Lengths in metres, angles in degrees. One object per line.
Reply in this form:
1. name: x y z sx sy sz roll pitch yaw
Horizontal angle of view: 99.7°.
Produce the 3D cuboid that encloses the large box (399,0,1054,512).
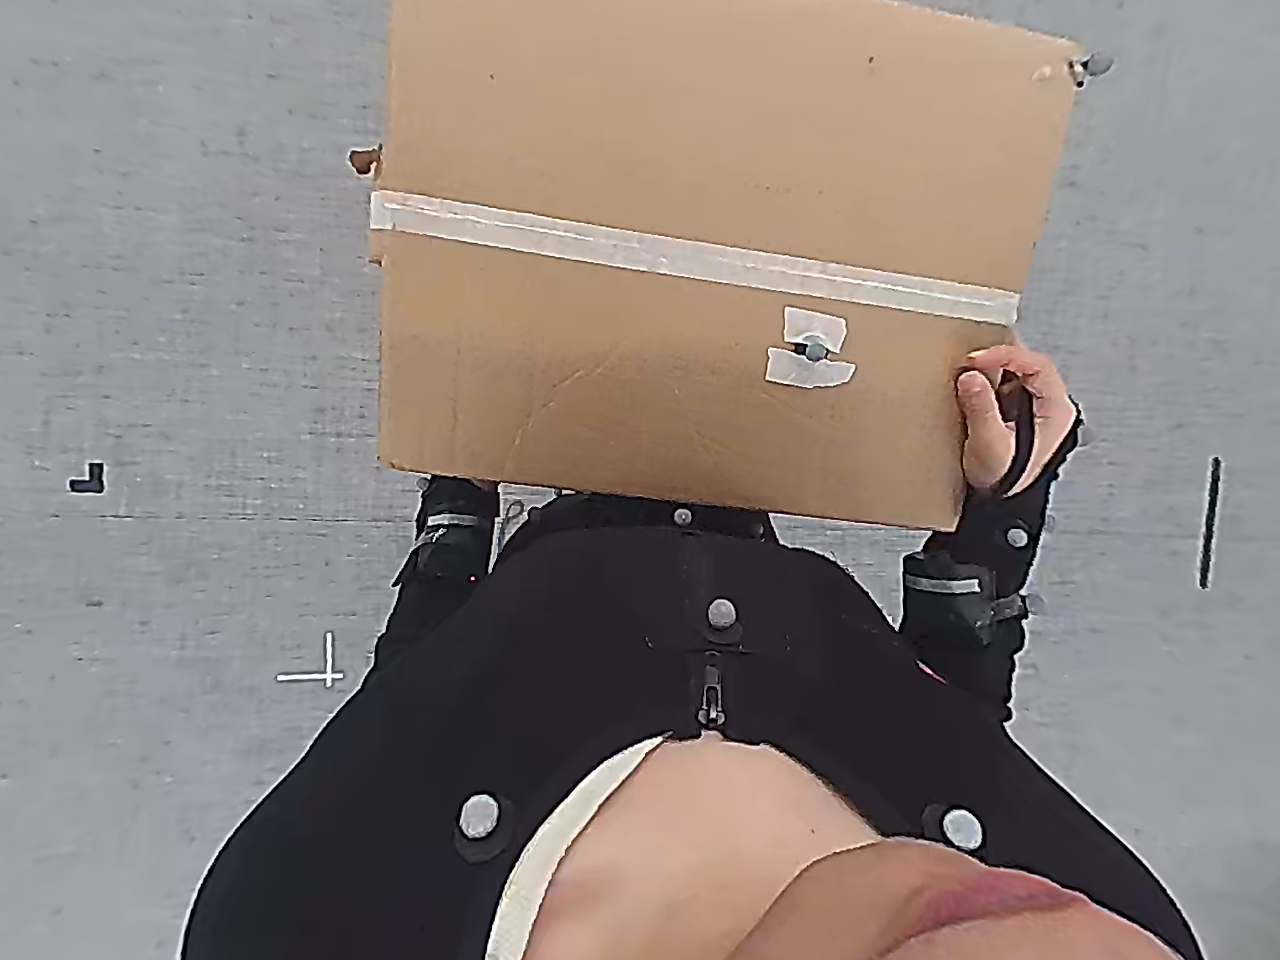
1. large box: 0.035 -0.172 0.493 0.408 0.320 0.320 6 103 -8
